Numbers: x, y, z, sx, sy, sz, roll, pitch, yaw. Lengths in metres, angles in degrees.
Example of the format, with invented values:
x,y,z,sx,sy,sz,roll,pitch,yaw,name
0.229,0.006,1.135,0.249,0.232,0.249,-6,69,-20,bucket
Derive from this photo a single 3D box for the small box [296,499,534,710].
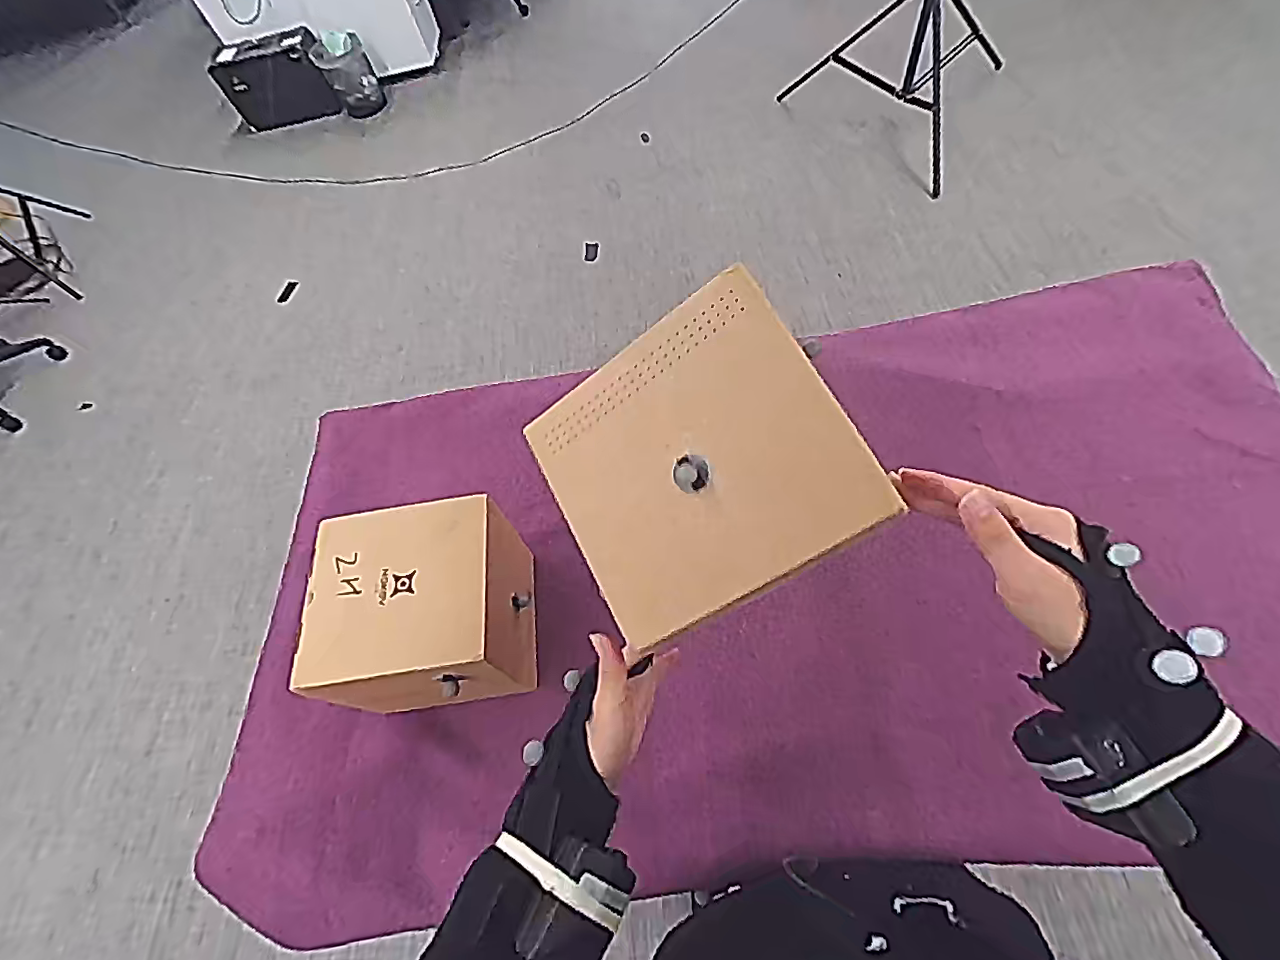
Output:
x,y,z,sx,sy,sz,roll,pitch,yaw,name
-0.216,0.139,0.576,0.179,0.176,0.168,-9,59,2,small box
